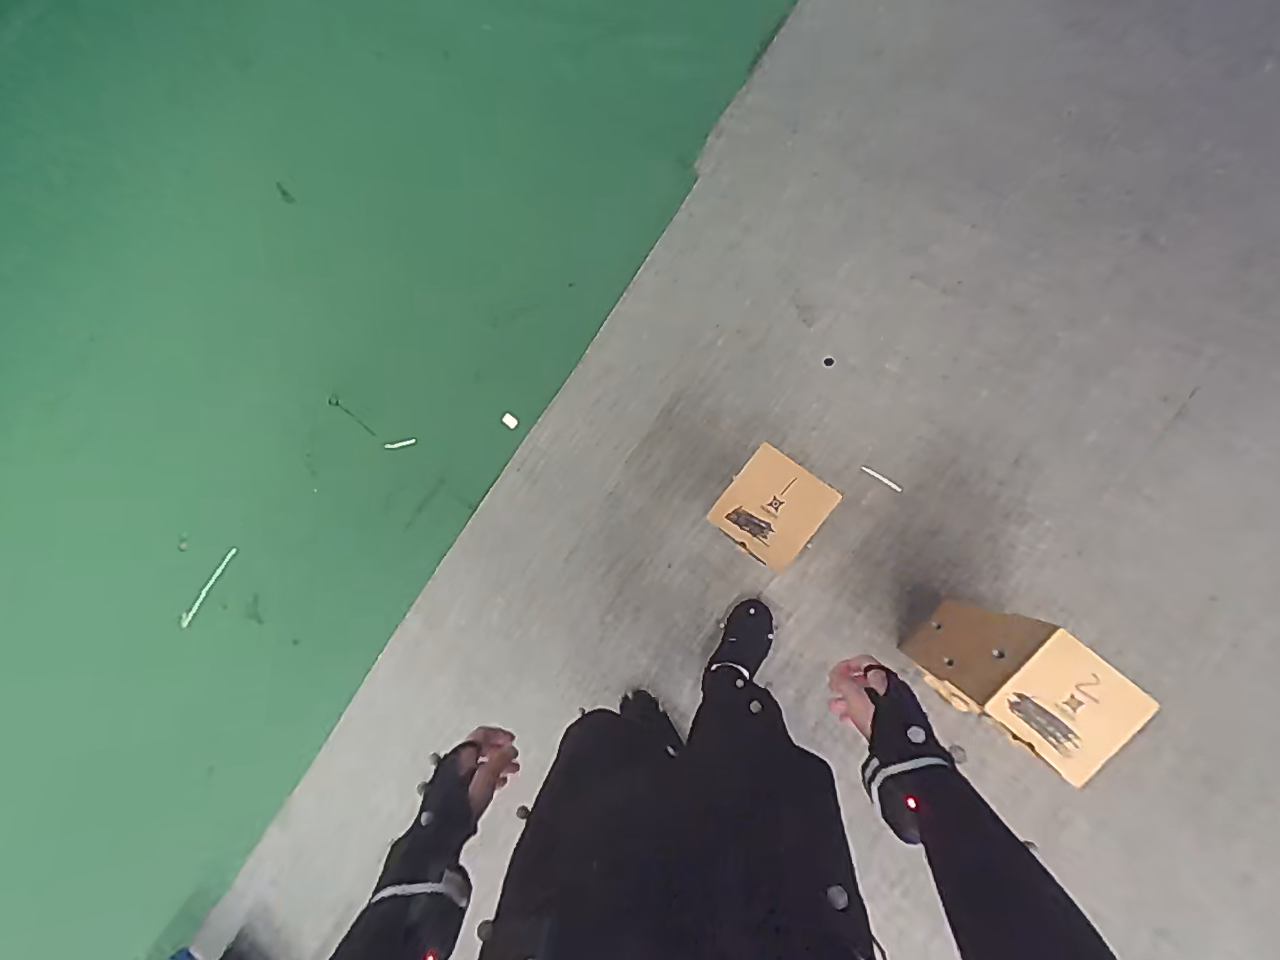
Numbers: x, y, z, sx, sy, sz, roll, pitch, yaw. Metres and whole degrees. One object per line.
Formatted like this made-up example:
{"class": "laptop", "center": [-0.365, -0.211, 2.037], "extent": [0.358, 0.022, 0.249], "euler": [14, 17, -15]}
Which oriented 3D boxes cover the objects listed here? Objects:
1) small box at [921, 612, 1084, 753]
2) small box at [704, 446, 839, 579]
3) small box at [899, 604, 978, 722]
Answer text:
{"class": "small box", "center": [0.684, 0.378, 1.049], "extent": [0.168, 0.176, 0.179], "euler": [41, 94, 13]}
{"class": "small box", "center": [0.245, 0.065, 1.016], "extent": [0.168, 0.176, 0.179], "euler": [38, 92, 14]}
{"class": "small box", "center": [0.712, 0.395, 1.206], "extent": [0.179, 0.176, 0.168], "euler": [-45, 74, 5]}
